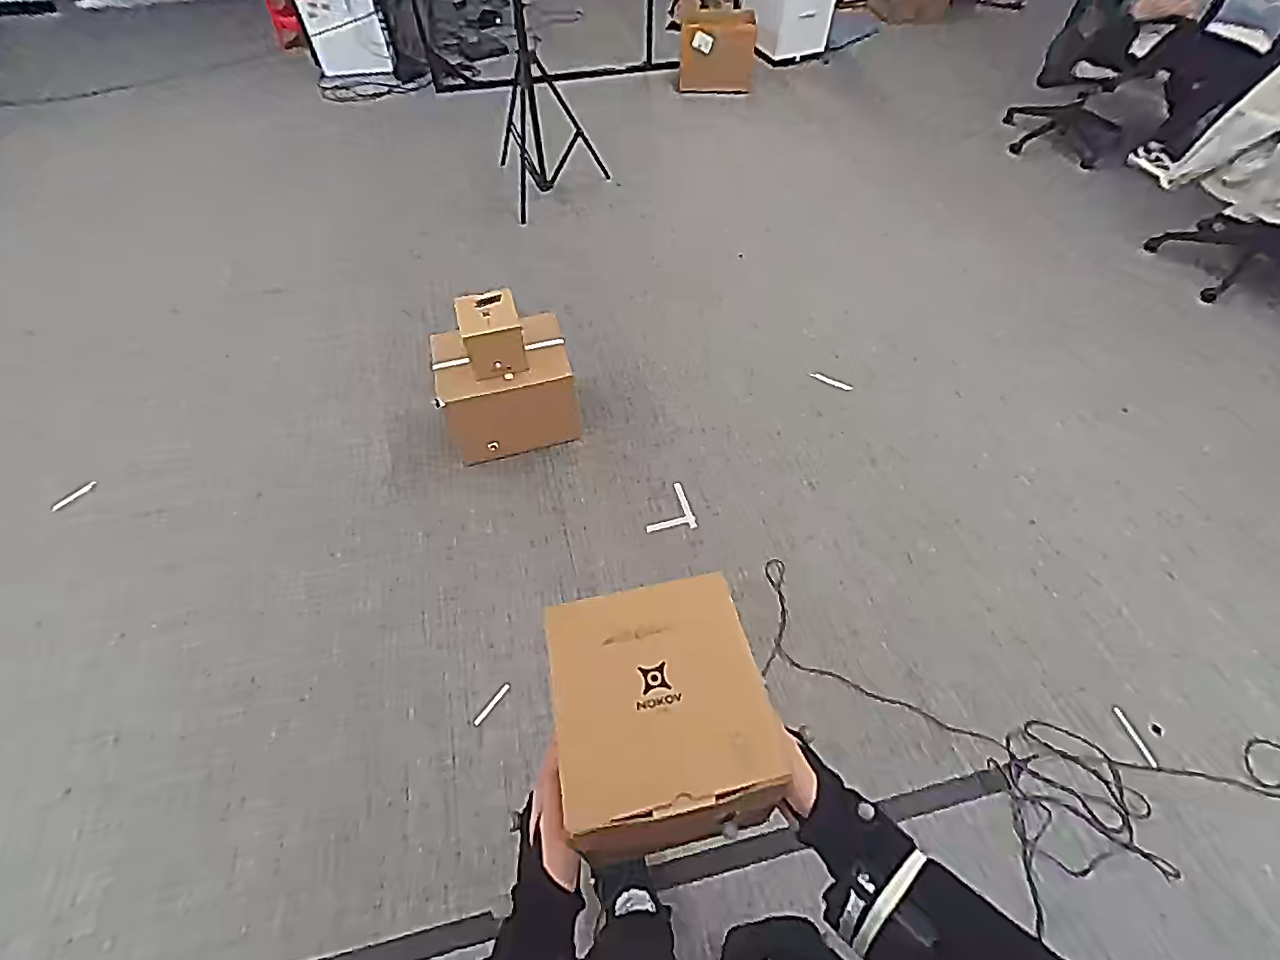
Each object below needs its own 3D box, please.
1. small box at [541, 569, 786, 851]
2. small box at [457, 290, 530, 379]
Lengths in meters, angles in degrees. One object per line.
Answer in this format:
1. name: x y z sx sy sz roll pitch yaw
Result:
1. small box: 0.013 0.211 0.487 0.168 0.176 0.179 -10 48 -7
2. small box: -0.432 -0.429 1.601 0.168 0.176 0.179 -14 58 -9
